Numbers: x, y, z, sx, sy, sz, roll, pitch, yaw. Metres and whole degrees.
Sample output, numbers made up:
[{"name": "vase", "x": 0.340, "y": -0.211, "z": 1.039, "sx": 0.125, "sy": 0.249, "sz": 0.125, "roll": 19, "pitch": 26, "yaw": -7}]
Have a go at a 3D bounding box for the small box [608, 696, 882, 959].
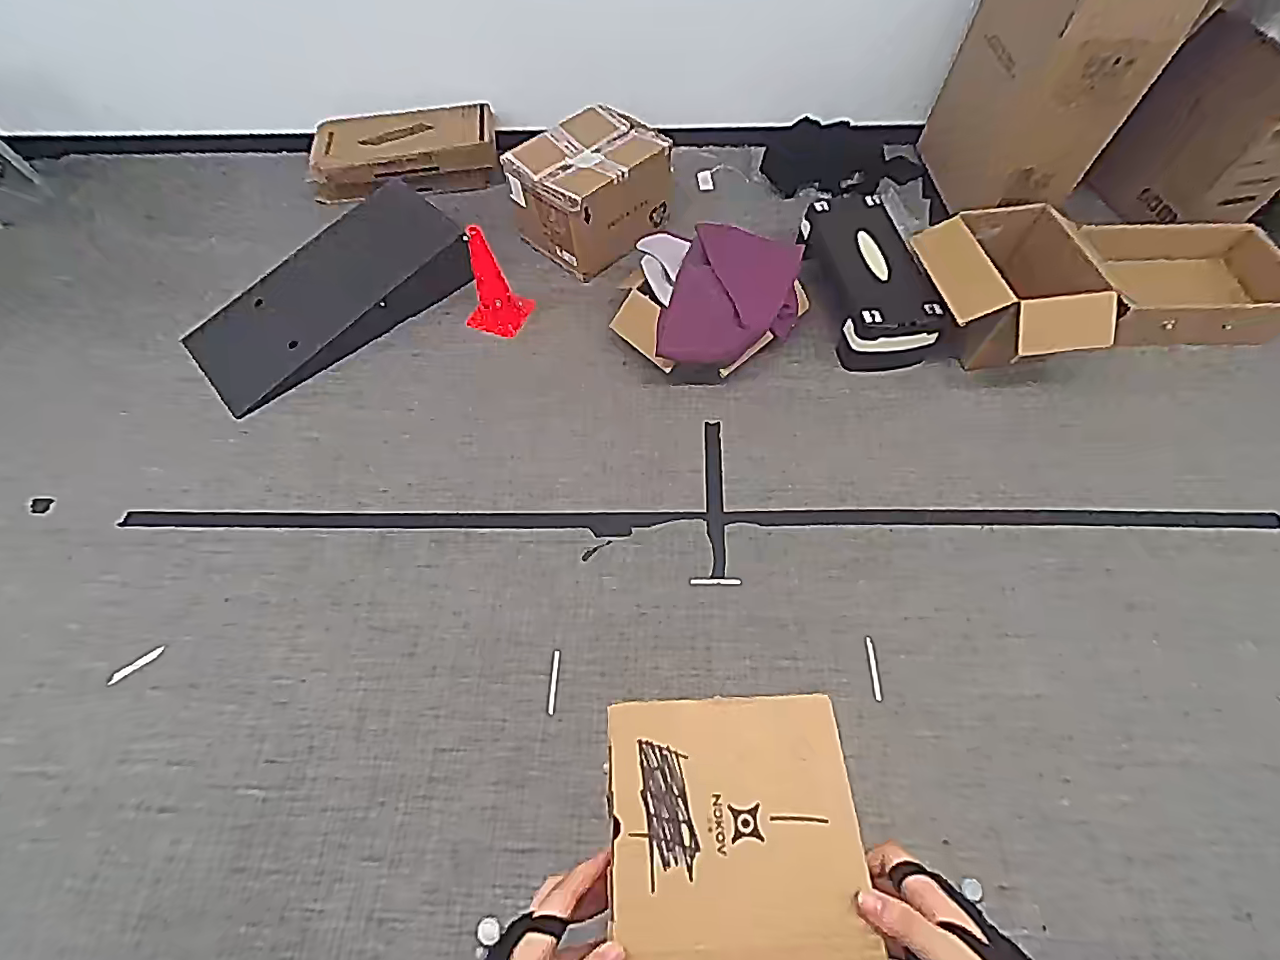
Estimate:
[{"name": "small box", "x": 0.066, "y": 0.283, "z": 0.448, "sx": 0.179, "sy": 0.176, "sz": 0.168, "roll": -2, "pitch": 58, "yaw": -1}]
